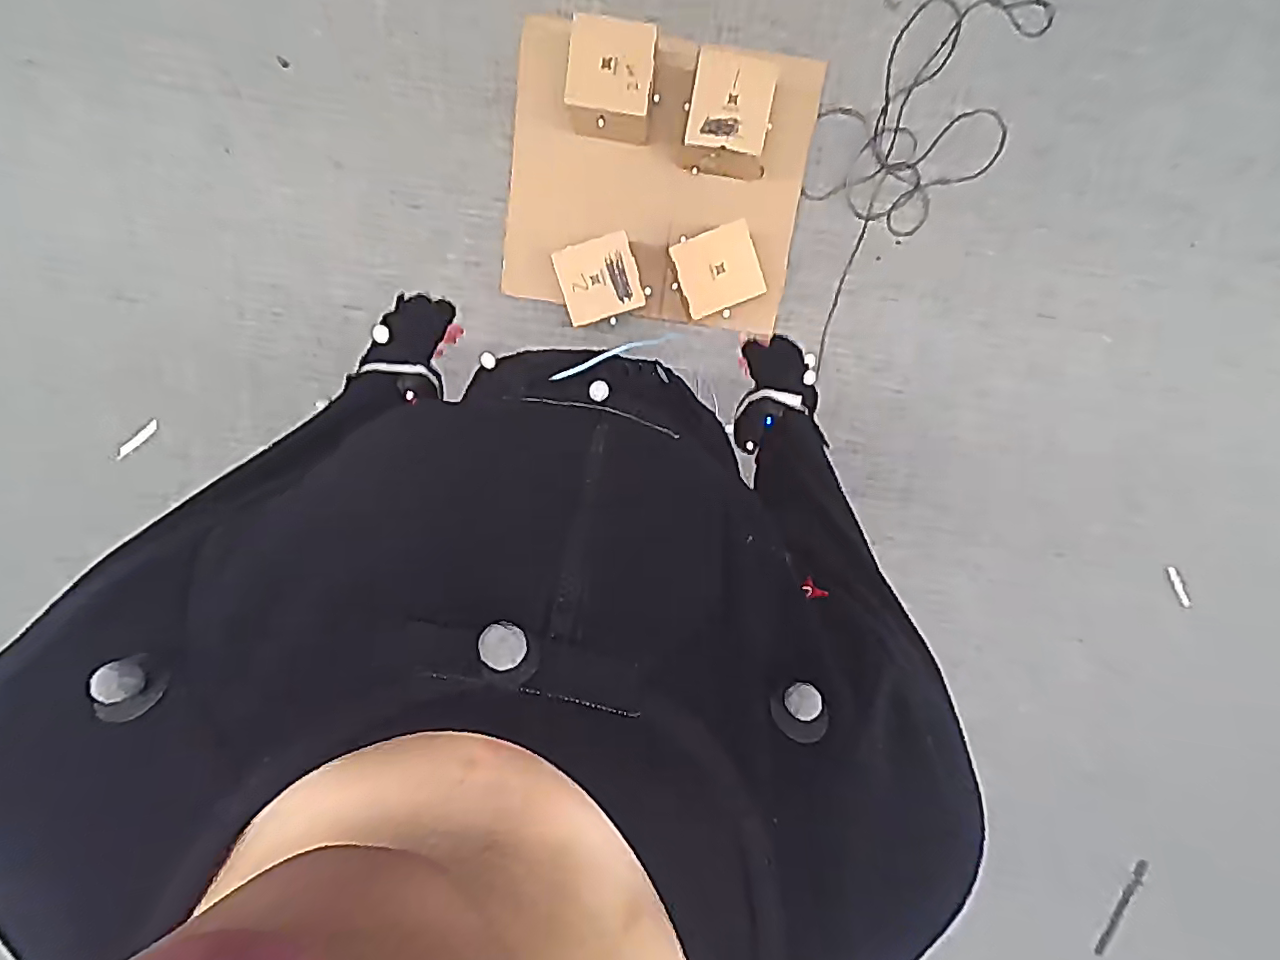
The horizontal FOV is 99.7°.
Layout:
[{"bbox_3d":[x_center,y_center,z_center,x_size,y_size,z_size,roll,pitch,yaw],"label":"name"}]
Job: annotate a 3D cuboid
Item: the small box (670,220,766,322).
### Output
[{"bbox_3d":[0.177,-0.482,1.274,0.179,0.176,0.168,-20,101,8],"label":"small box"}]
